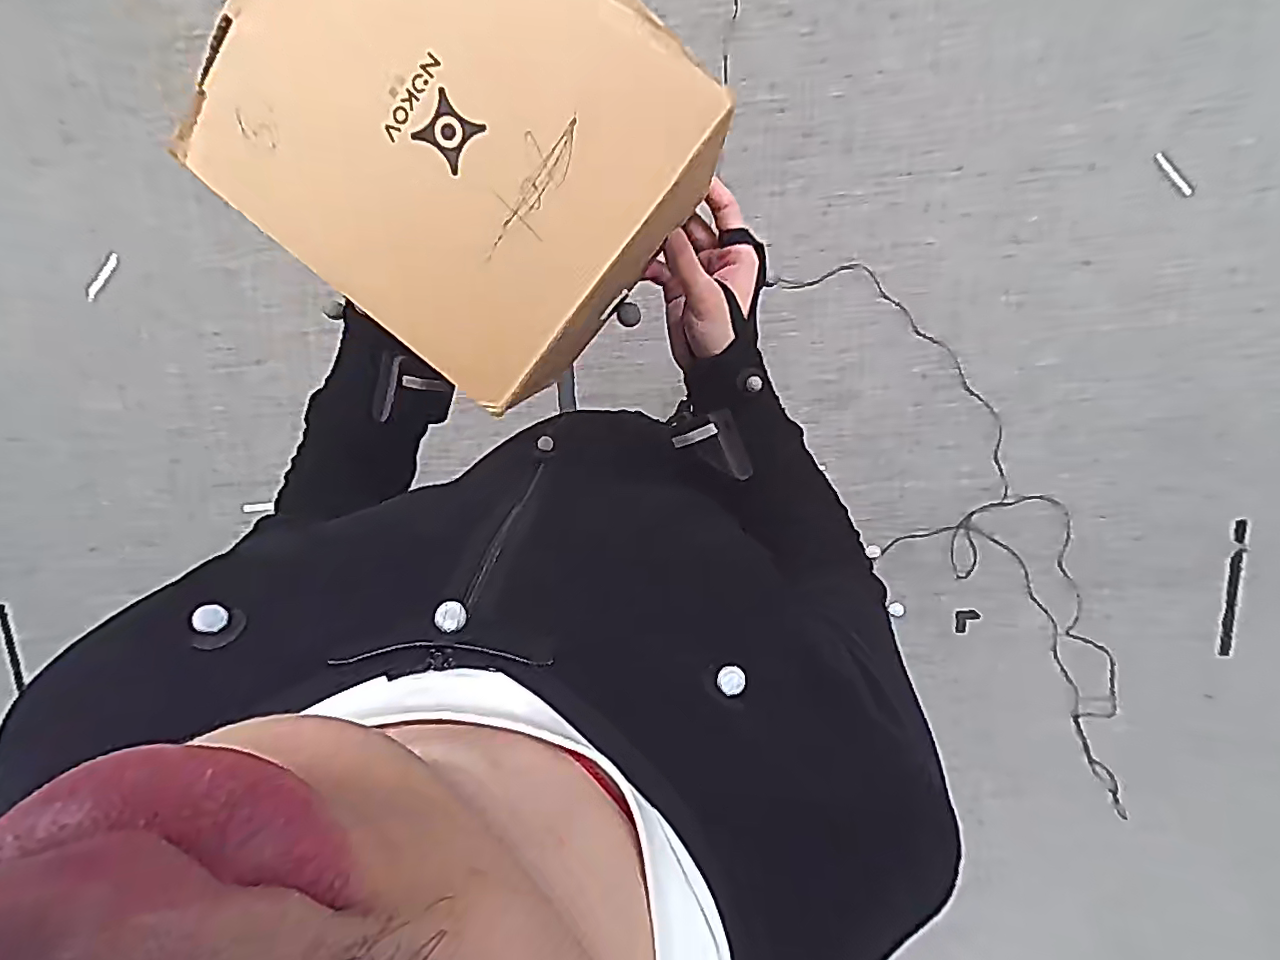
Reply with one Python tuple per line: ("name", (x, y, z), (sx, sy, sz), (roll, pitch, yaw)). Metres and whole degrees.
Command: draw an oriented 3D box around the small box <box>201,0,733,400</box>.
("small box", (-0.074, -0.169, 0.306), (0.179, 0.176, 0.168), (38, 105, -8))
